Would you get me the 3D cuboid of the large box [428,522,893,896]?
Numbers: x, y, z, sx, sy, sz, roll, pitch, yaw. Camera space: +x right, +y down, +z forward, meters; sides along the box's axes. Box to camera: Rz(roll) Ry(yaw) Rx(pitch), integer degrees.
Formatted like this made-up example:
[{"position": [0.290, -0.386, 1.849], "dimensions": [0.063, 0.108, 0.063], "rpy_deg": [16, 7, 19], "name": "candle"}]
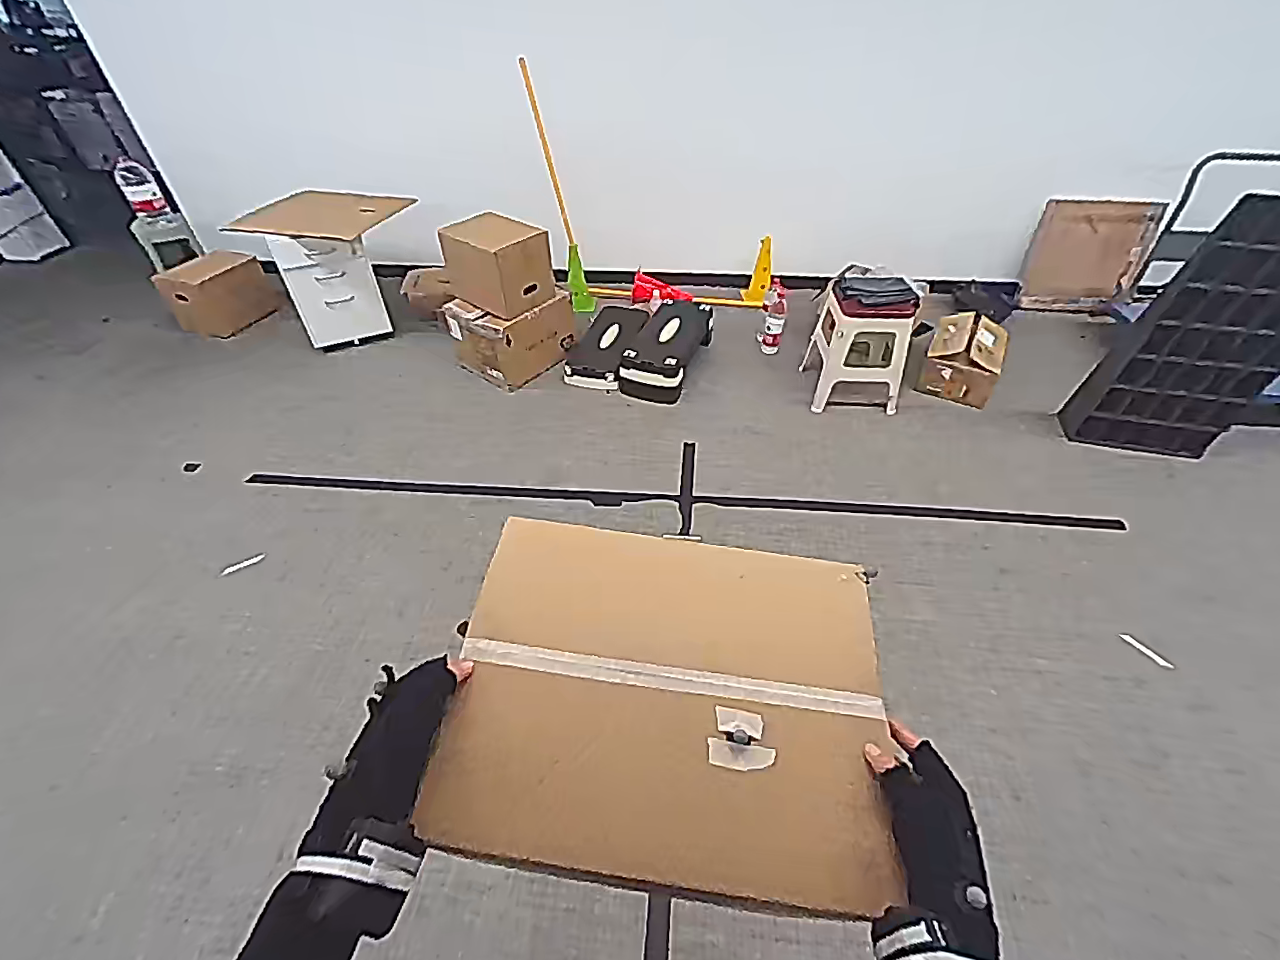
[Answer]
[{"position": [0.022, 0.284, 0.657], "dimensions": [0.408, 0.320, 0.320], "rpy_deg": [9, 53, 2], "name": "large box"}]
